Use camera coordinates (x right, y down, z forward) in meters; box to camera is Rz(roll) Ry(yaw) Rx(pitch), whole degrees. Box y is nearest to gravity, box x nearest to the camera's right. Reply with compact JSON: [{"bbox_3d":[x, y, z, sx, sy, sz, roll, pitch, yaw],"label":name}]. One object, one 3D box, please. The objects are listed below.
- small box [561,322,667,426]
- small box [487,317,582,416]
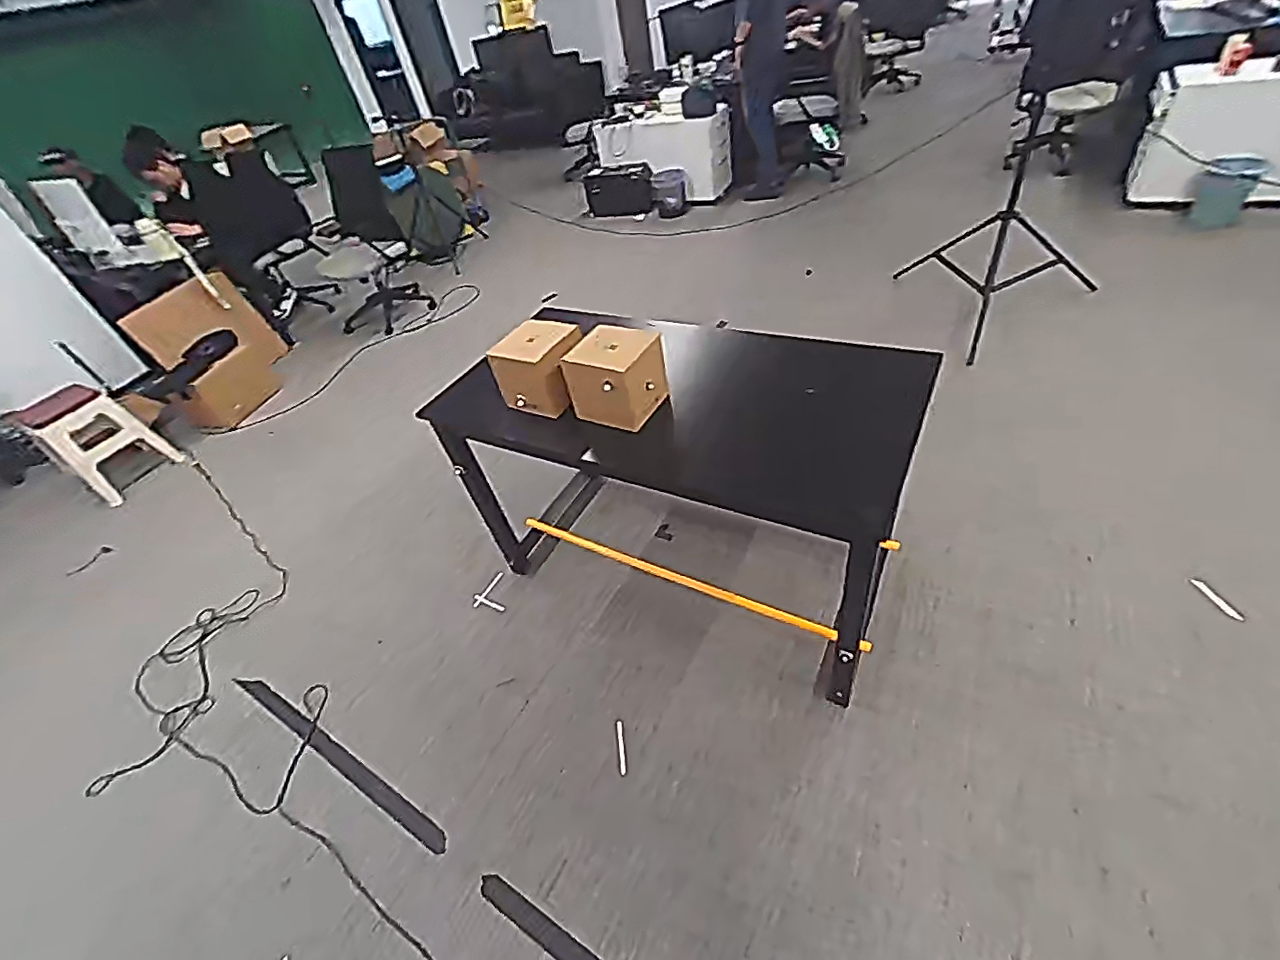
[{"bbox_3d":[-0.052,-0.247,1.274,0.179,0.176,0.168,17,50,28],"label":"small box"},{"bbox_3d":[-0.247,-0.289,1.367,0.168,0.176,0.179,14,50,28],"label":"small box"}]
